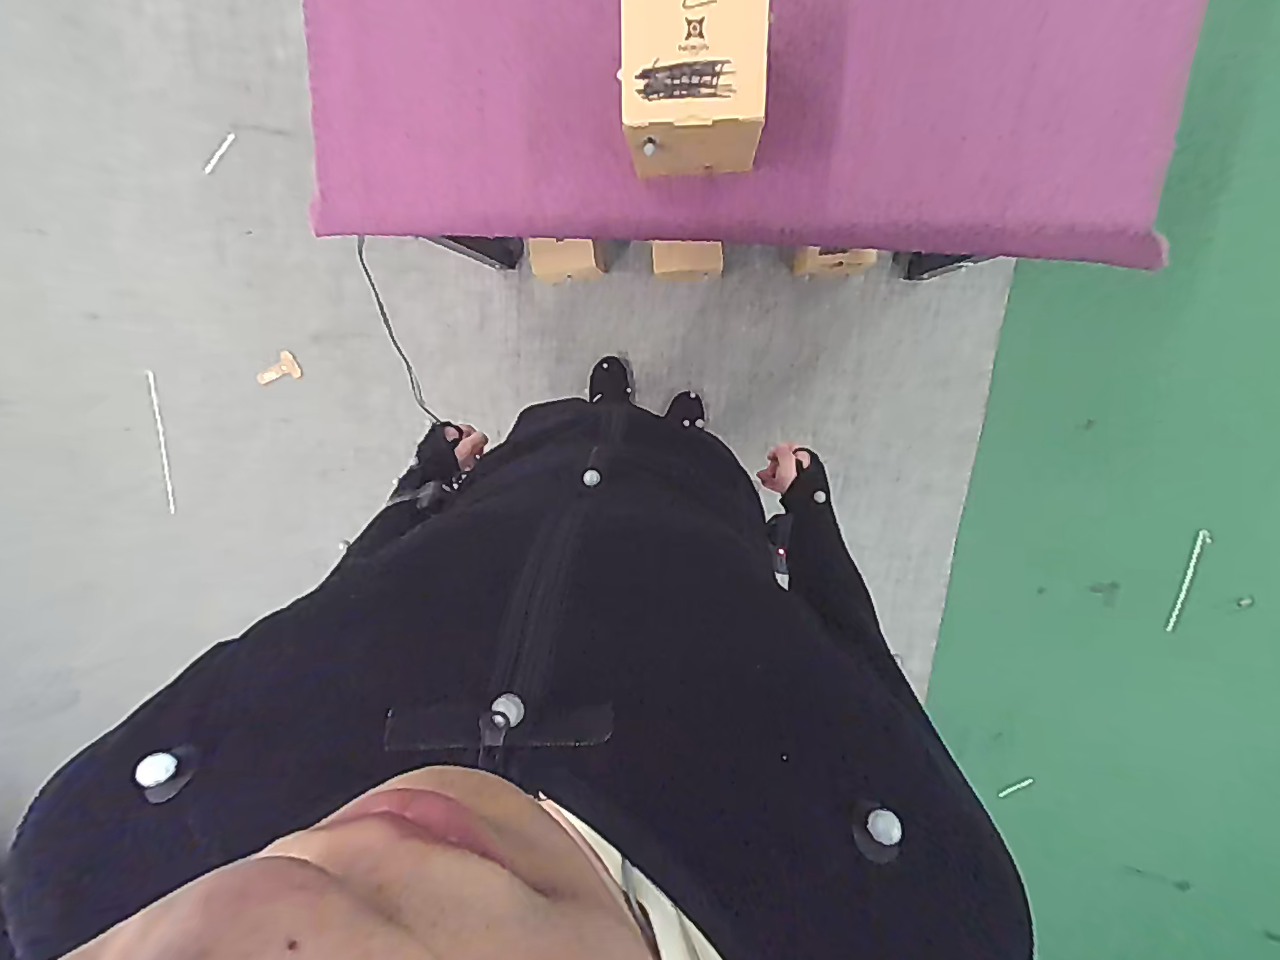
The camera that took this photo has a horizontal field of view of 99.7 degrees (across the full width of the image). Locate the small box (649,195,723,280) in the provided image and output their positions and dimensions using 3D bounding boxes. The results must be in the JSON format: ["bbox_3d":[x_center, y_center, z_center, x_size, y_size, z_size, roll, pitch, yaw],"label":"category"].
[{"bbox_3d":[0.119,-0.616,1.389,0.179,0.176,0.168,-3,102,6],"label":"small box"}]

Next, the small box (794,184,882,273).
[{"bbox_3d":[0.486,-0.621,1.355,0.168,0.176,0.179,1,102,4],"label":"small box"}]

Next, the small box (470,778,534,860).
[{"bbox_3d":[-0.467,1.156,1.852,0.179,0.176,0.168,4,103,3],"label":"small box"}]

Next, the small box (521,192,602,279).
[{"bbox_3d":[-0.198,-0.629,1.413,0.168,0.176,0.179,-5,103,6],"label":"small box"}]
